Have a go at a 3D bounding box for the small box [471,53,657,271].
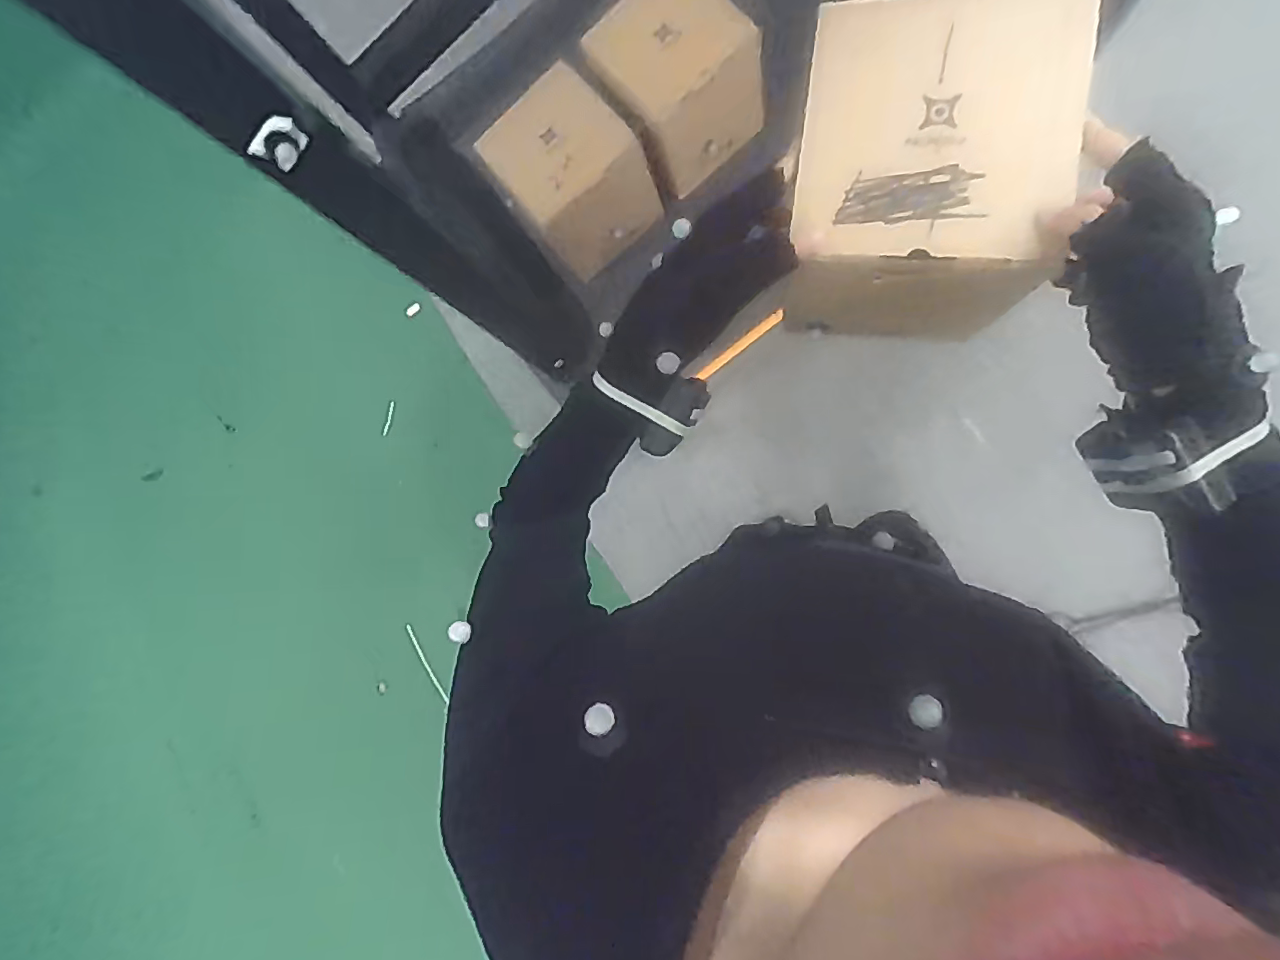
[{"bbox_3d":[-0.100,-0.442,0.781,0.168,0.176,0.179,-40,77,8],"label":"small box"}]
